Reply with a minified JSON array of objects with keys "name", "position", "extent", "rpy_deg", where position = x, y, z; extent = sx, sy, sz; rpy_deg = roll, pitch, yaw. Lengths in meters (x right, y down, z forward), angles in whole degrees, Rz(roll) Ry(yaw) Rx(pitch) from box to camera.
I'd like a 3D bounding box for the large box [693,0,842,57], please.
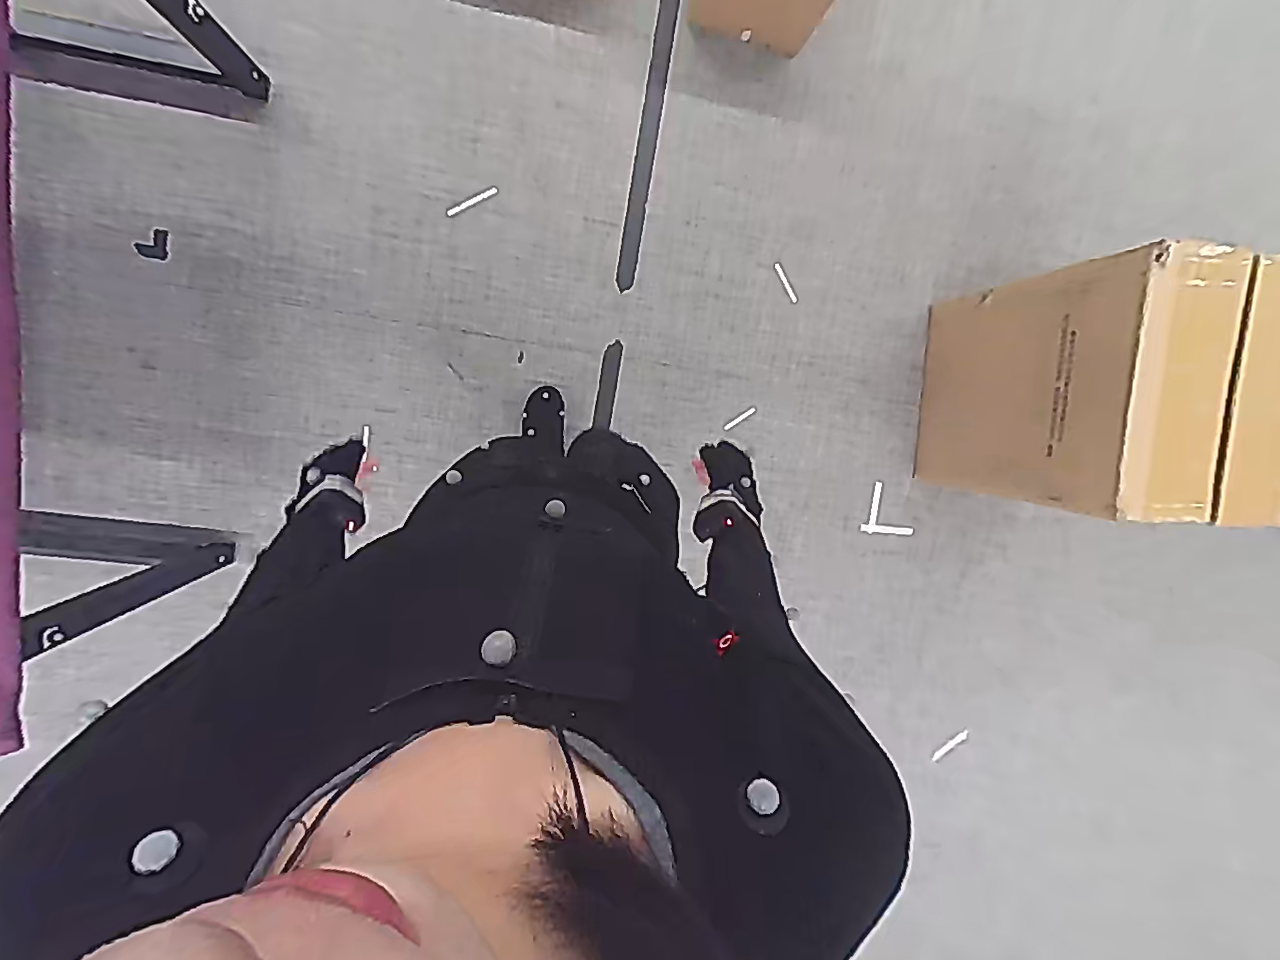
[{"name":"large box","position":[0.330,-1.310,1.239],"extent":[0.320,0.320,0.408],"rpy_deg":[8,98,-8]}]
